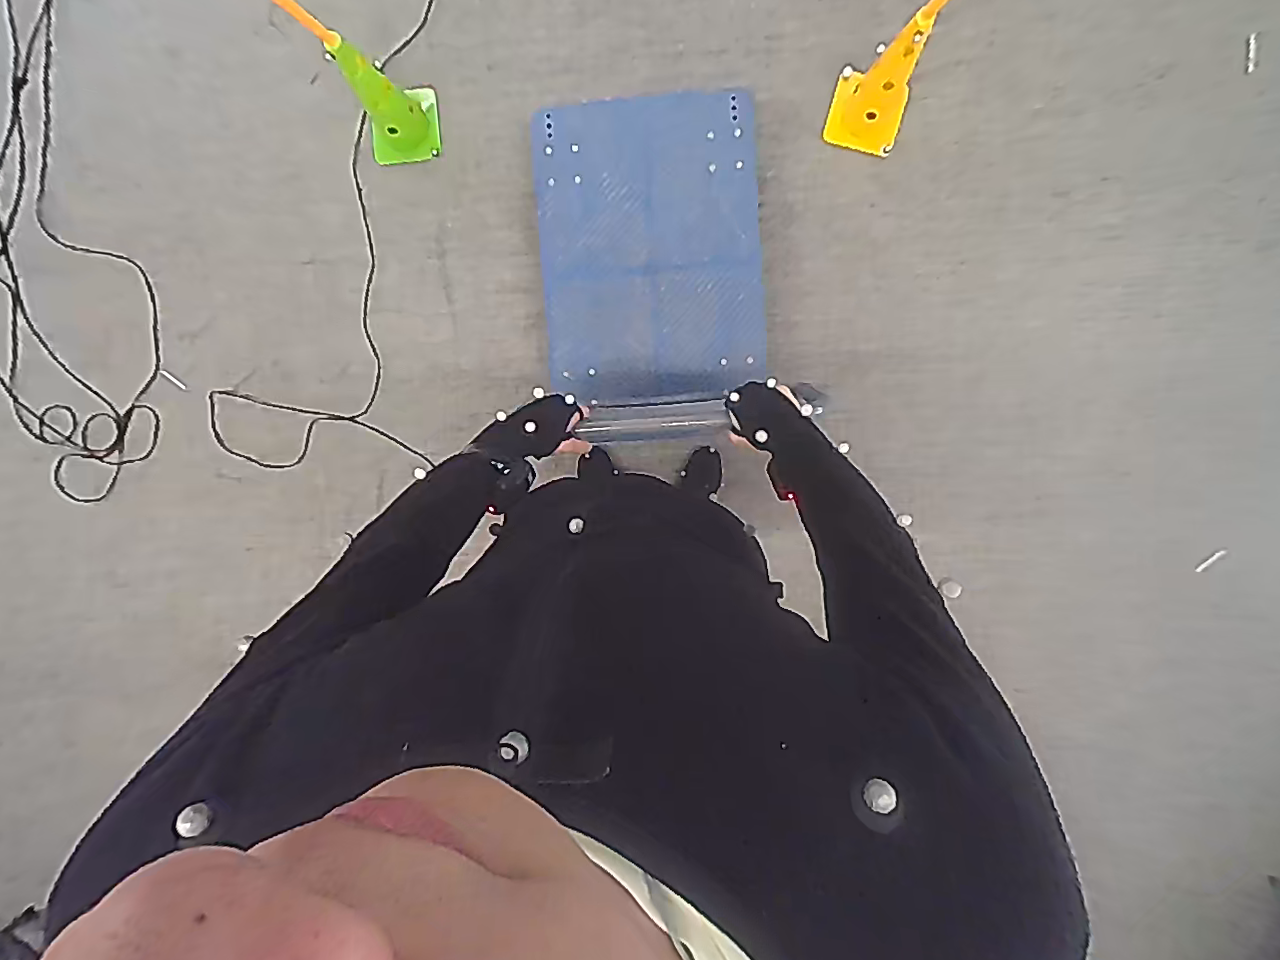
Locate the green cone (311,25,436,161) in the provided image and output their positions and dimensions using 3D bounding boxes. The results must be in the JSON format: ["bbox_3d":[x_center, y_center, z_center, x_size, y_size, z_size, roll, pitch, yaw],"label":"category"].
[{"bbox_3d":[-0.708,-1.029,1.400,0.202,0.368,0.200,-5,94,5],"label":"green cone"}]
